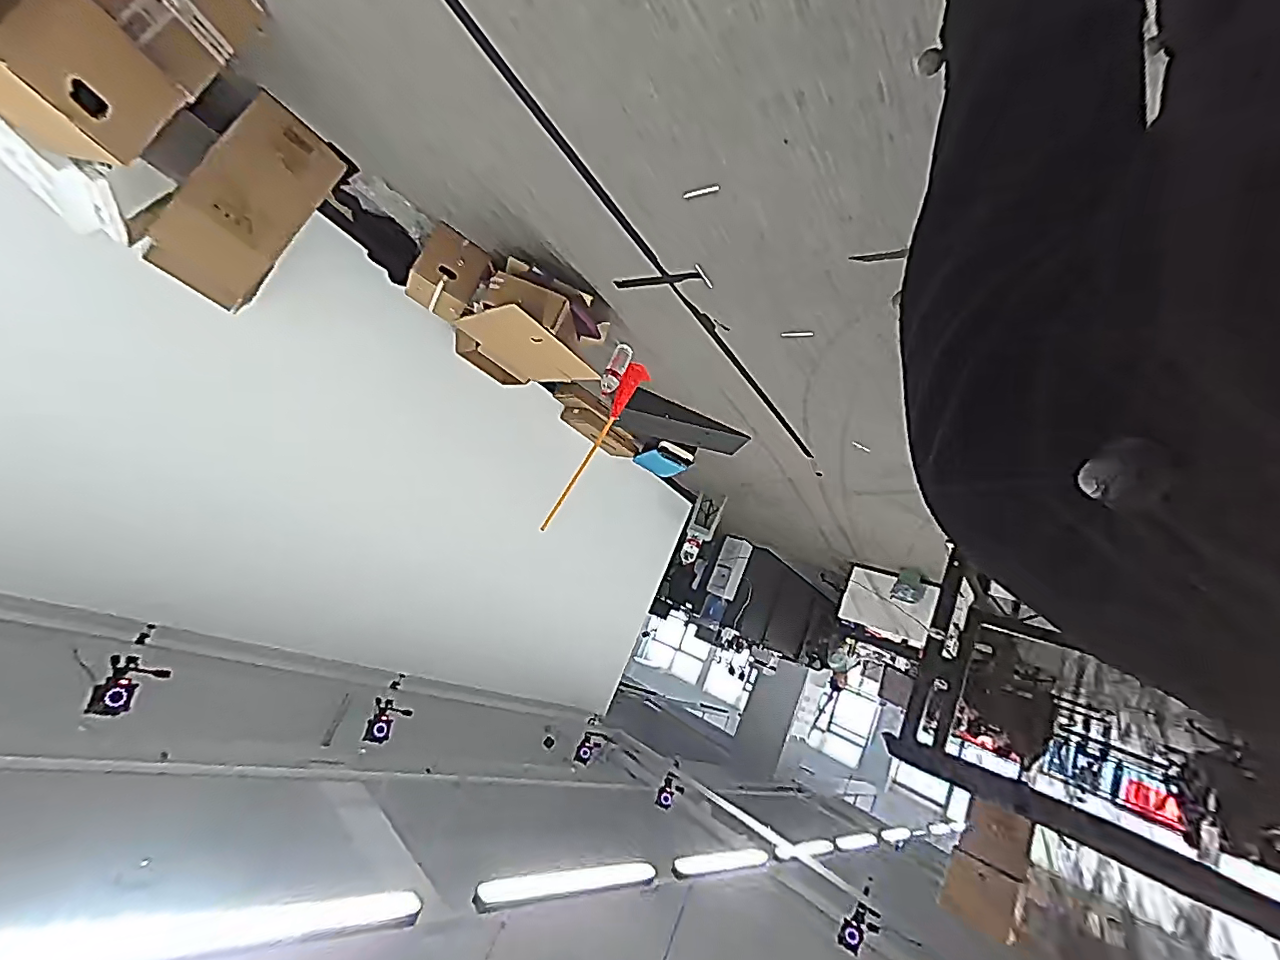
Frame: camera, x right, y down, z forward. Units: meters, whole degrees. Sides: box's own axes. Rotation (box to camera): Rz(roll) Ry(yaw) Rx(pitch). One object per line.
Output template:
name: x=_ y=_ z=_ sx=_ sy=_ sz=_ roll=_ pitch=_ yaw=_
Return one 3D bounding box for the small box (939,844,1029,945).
small box: x=0.998 y=1.195 z=1.570 sx=0.179 sy=0.176 sz=0.168 roll=12 pitch=164 yaw=46

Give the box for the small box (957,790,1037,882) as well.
small box: x=1.070 y=1.050 z=1.613 sx=0.168 sy=0.176 sz=0.179 roll=11 pitch=163 yaw=41
